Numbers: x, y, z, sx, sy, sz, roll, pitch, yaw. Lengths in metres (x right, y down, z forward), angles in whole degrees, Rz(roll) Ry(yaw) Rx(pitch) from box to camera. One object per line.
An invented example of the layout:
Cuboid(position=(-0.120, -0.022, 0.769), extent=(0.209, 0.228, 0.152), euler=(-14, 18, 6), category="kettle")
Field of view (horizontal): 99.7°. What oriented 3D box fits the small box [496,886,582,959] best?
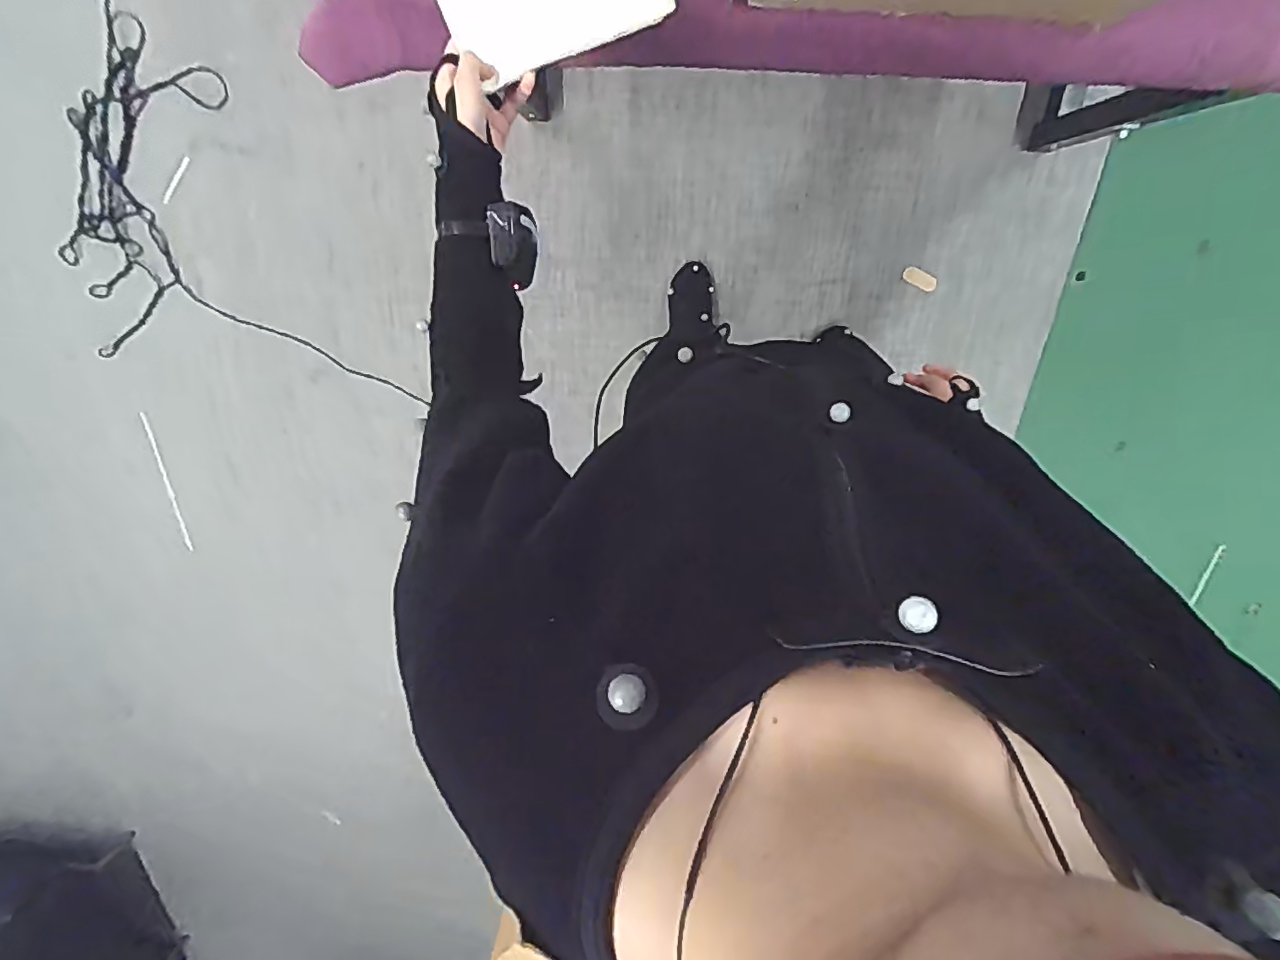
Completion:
Cuboid(position=(-0.288, 1.328, 1.565), extent=(0.179, 0.176, 0.168), euler=(33, 111, -7), category="small box")
